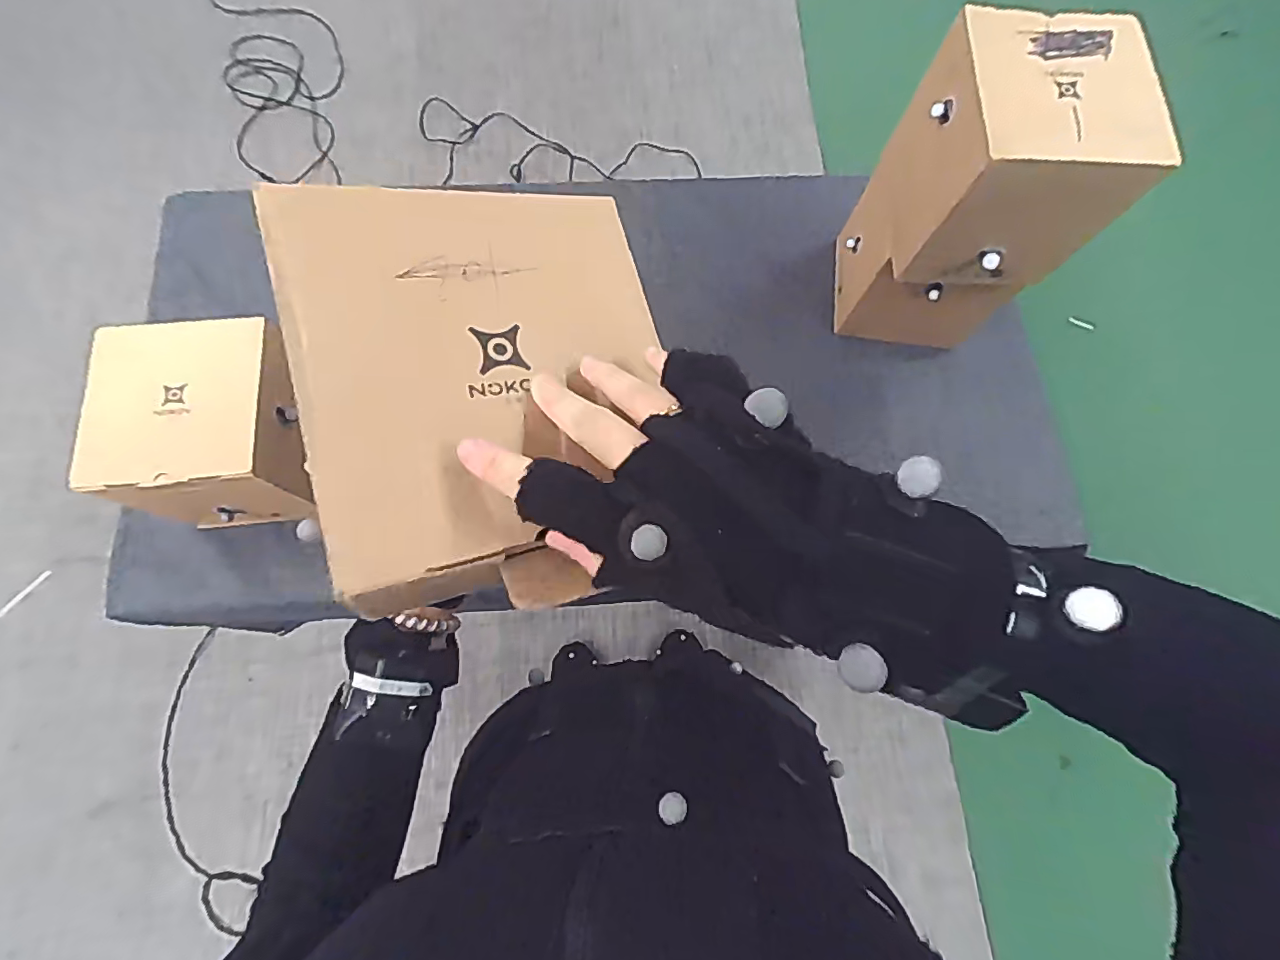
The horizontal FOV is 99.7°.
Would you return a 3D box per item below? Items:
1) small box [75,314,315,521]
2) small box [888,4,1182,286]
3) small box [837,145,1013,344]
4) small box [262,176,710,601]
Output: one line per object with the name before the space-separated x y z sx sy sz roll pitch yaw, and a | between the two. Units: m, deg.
small box | -0.458 -0.061 0.609 0.168 0.176 0.179 -5 75 -5
small box | 0.372 -0.326 0.549 0.168 0.176 0.179 2 75 -1
small box | 0.374 -0.298 0.712 0.179 0.176 0.168 8 74 0
small box | -0.089 -0.034 0.310 0.168 0.176 0.179 -11 79 -26
